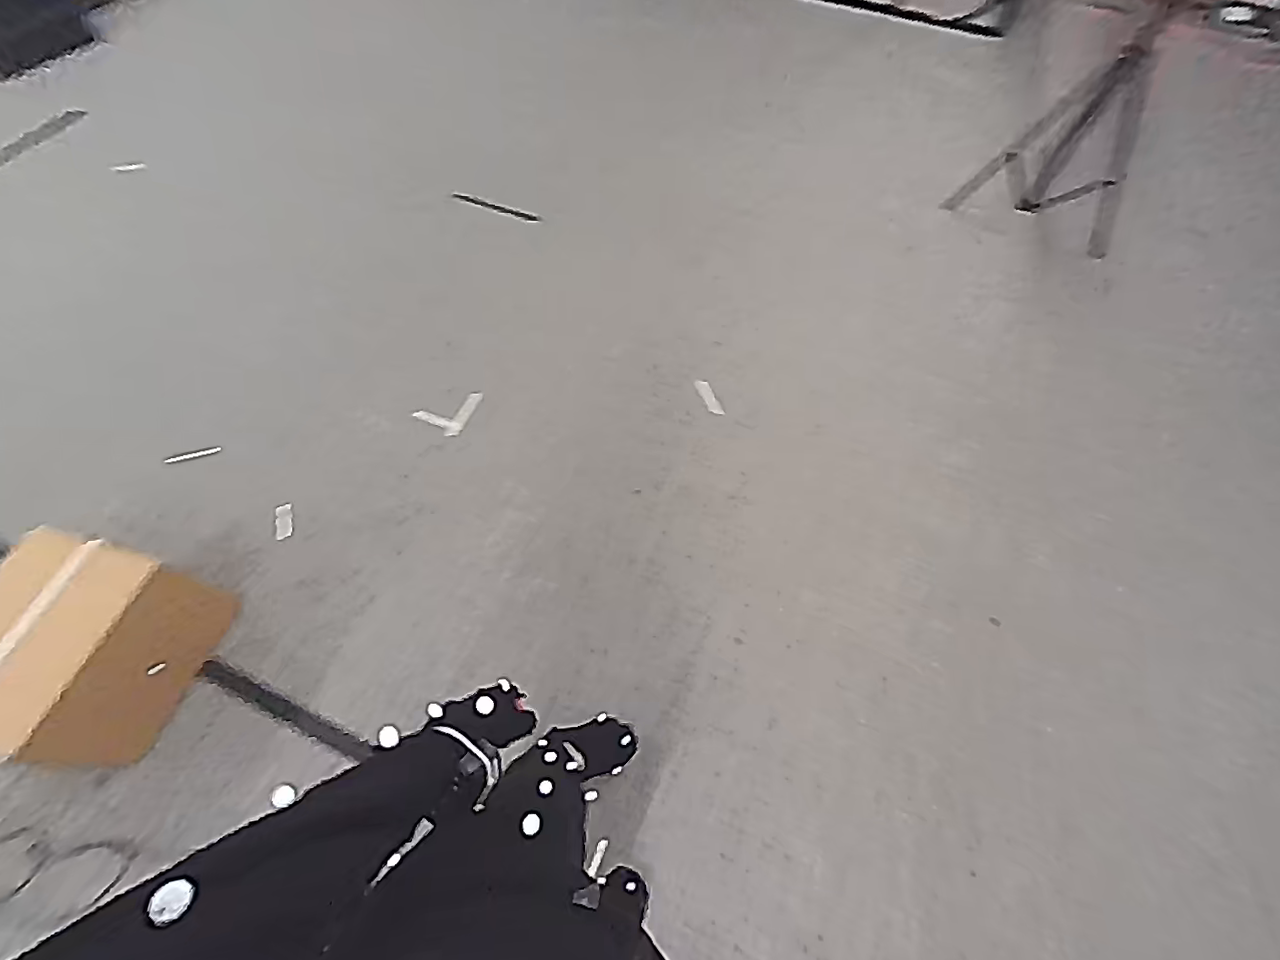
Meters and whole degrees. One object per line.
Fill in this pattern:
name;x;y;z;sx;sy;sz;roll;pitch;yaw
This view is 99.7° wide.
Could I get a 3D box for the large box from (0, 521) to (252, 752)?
large box;-1.221;0.363;1.239;0.320;0.320;0.408;16;63;7
